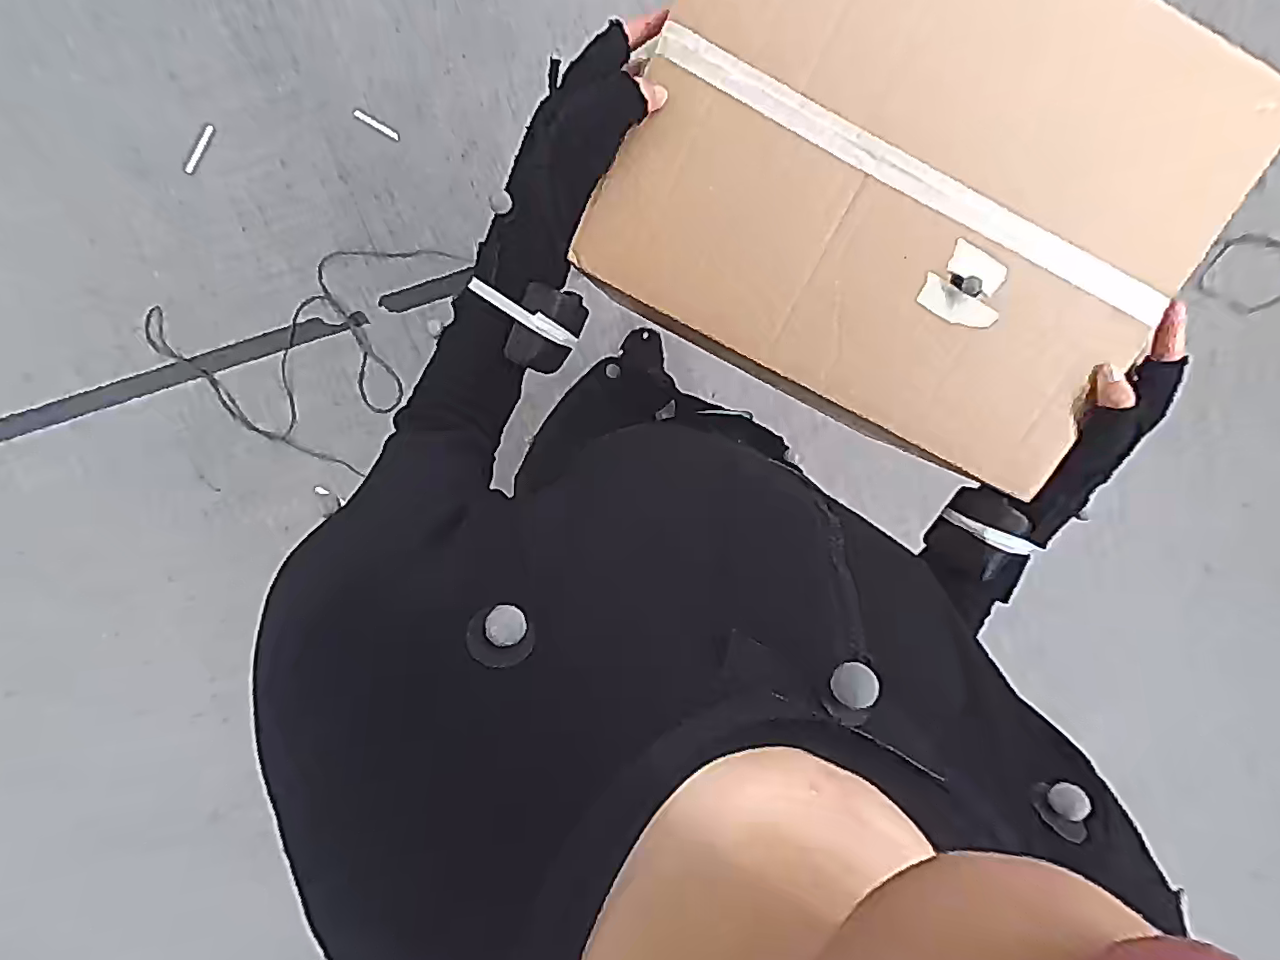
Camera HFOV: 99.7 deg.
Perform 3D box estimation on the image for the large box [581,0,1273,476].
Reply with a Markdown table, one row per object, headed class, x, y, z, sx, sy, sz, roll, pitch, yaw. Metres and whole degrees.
| class | x | y | z | sx | sy | sz | roll | pitch | yaw |
| --- | --- | --- | --- | --- | --- | --- | --- | --- | --- |
| large box | 0.198 | -0.252 | 0.535 | 0.408 | 0.320 | 0.320 | 27 | 104 | -5 |
